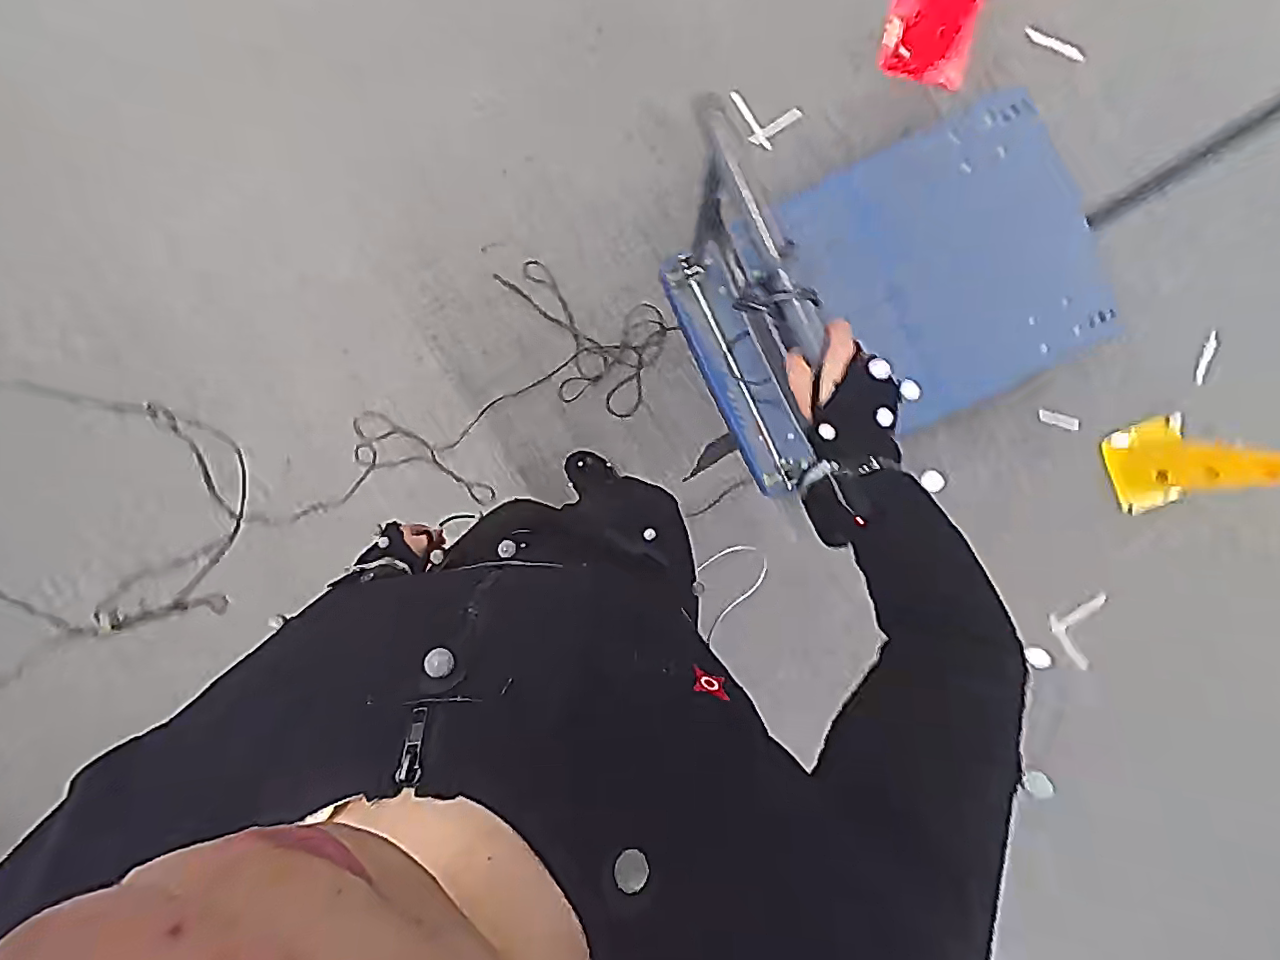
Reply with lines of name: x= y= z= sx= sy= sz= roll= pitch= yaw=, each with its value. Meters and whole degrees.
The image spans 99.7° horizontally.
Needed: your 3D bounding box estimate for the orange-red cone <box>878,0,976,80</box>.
orange-red cone: x=0.685 y=-1.057 z=1.118 sx=0.199 sy=0.360 sz=0.198 roll=12 pitch=95 yaw=-3
